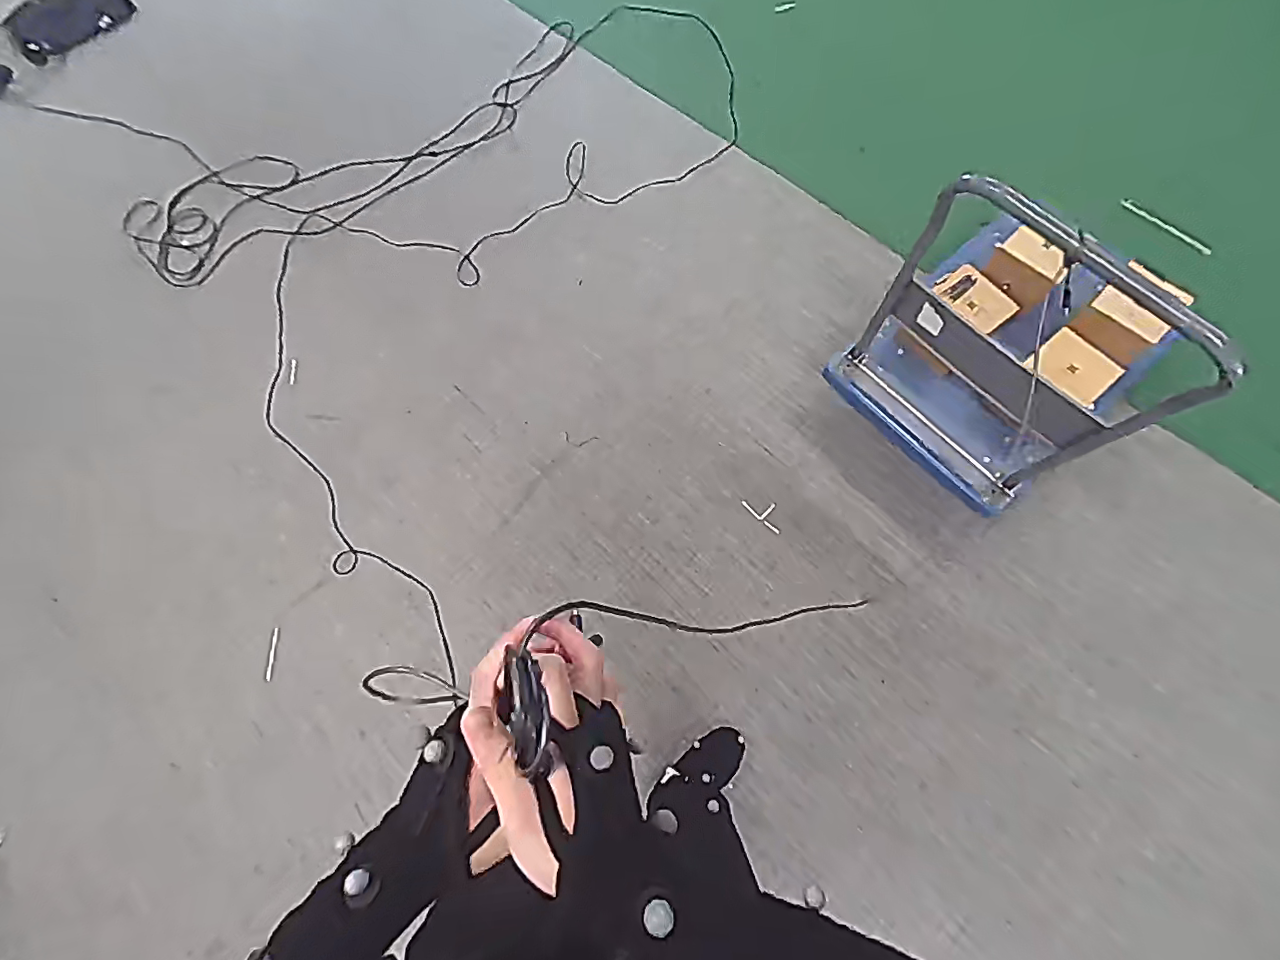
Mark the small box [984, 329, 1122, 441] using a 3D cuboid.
[{"bbox_3d":[1.004,-0.228,1.334,0.179,0.176,0.168,-39,74,-8],"label":"small box"}]

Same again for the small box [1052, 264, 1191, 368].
[{"bbox_3d":[1.209,-0.400,1.375,0.179,0.176,0.168,-44,74,-9],"label":"small box"}]

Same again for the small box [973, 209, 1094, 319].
[{"bbox_3d":[1.032,-0.566,1.441,0.179,0.176,0.168,-44,75,-10],"label":"small box"}]
